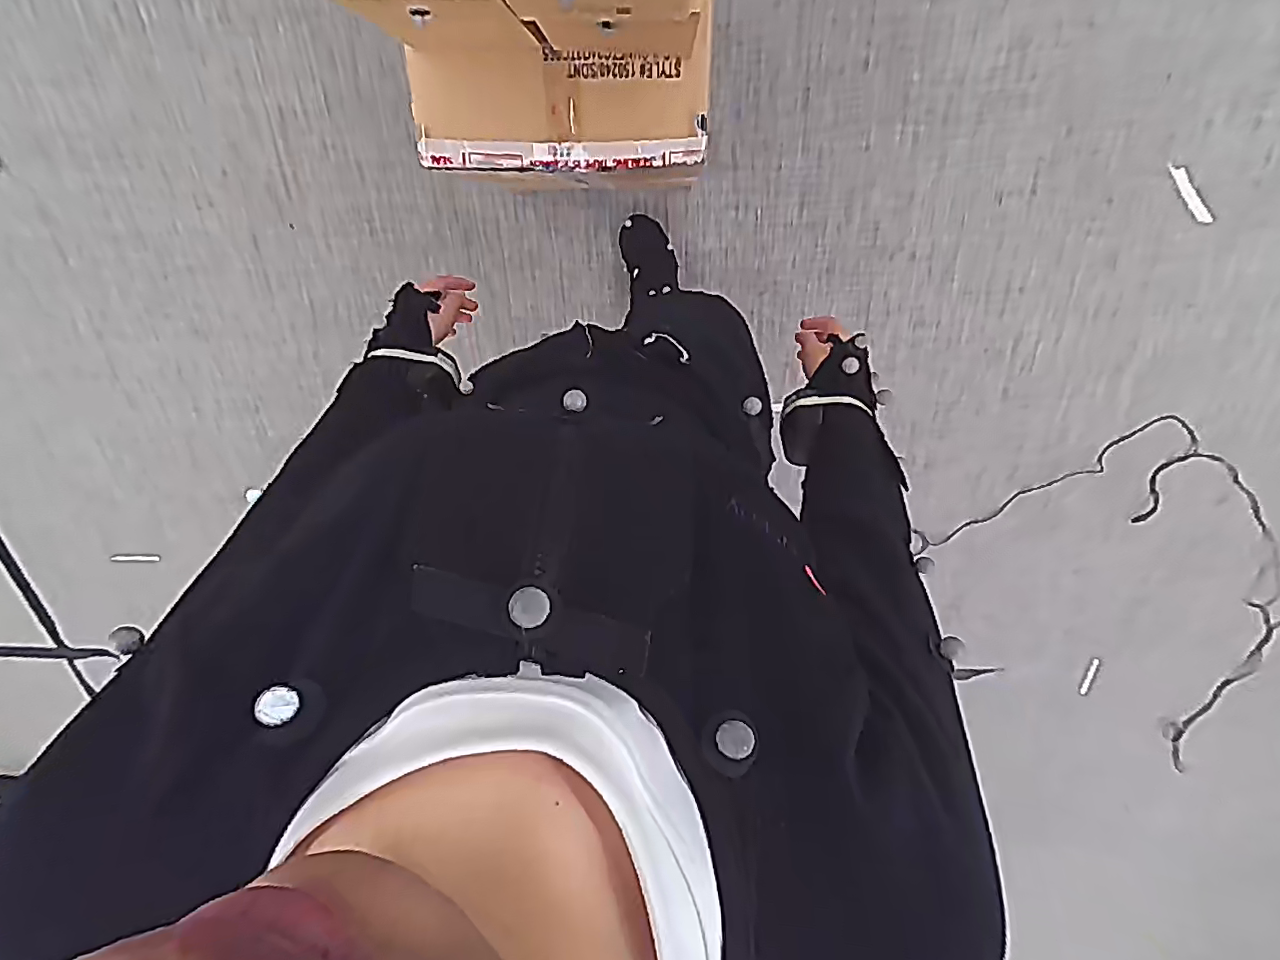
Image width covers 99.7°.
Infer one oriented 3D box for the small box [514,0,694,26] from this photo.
[{"bbox_3d":[-0.034,-0.481,0.417,0.168,0.176,0.179,1,115,2],"label":"small box"}]
